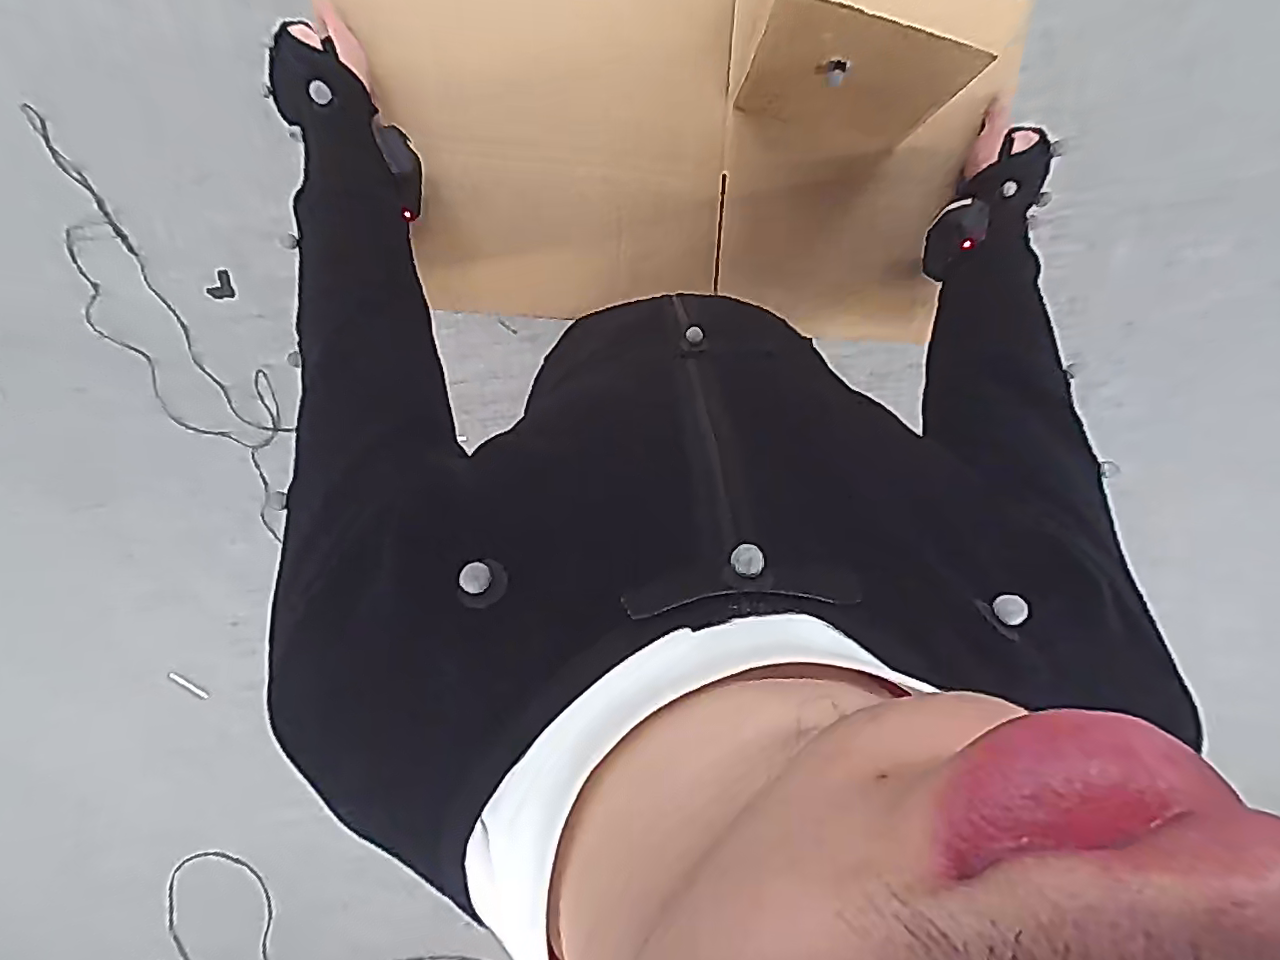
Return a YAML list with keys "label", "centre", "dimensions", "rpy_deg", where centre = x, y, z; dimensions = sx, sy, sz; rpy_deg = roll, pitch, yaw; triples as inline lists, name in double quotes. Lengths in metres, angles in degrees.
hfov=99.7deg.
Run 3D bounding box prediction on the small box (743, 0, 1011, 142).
- label: "small box"
  centre: [0.204, -0.433, 0.474]
  dimensions: [0.179, 0.176, 0.168]
  rpy_deg: [13, 99, -3]
